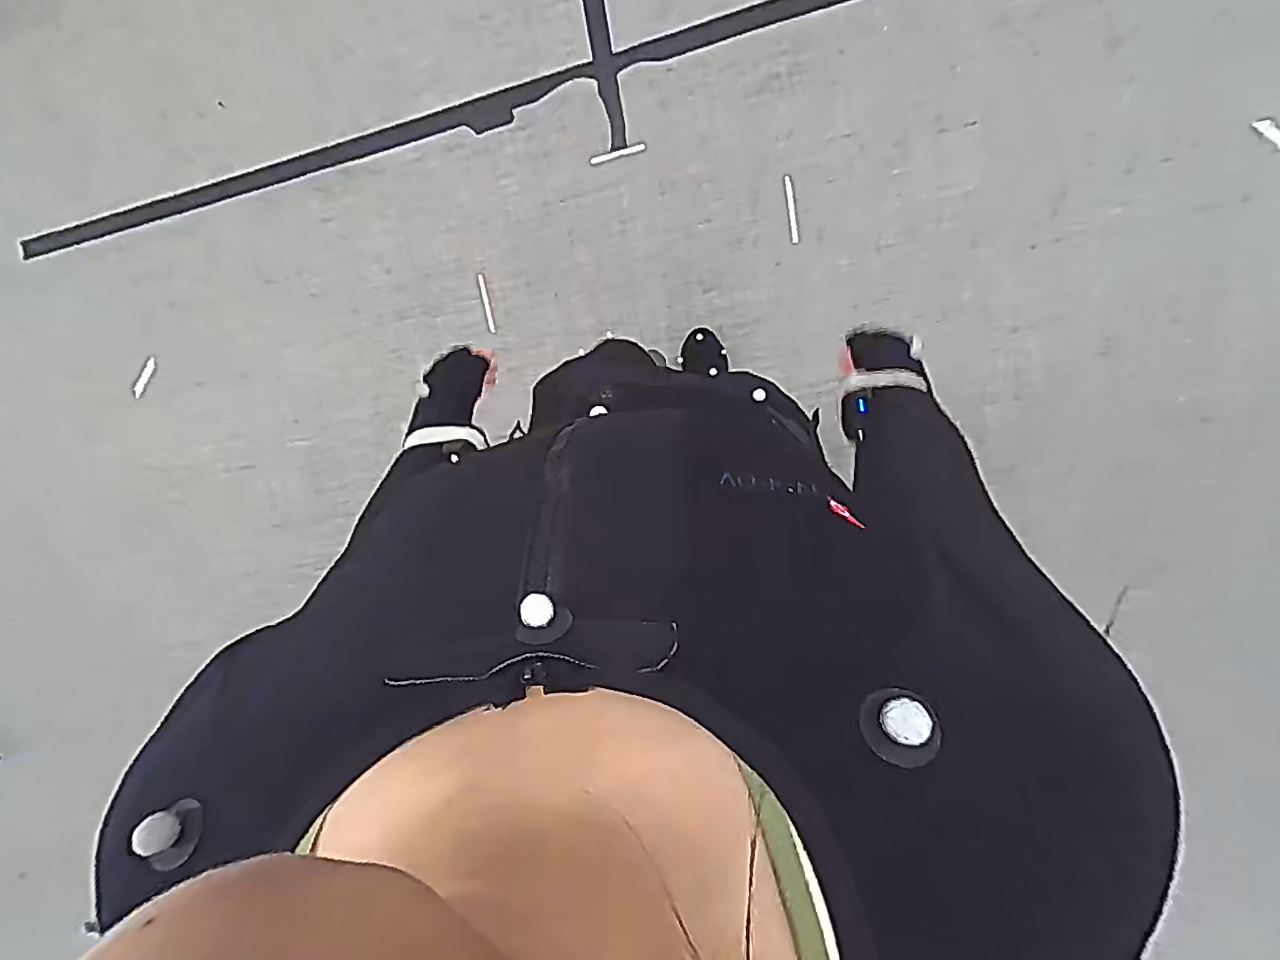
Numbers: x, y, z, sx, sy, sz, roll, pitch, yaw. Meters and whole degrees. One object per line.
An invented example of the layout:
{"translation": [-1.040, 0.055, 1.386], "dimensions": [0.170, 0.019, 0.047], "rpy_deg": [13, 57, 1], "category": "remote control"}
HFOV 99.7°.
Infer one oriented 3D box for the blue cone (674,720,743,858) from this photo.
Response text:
{"translation": [0.183, 0.833, 1.437], "dimensions": [0.193, 0.380, 0.192], "rpy_deg": [-7, 102, 9], "category": "blue cone"}
